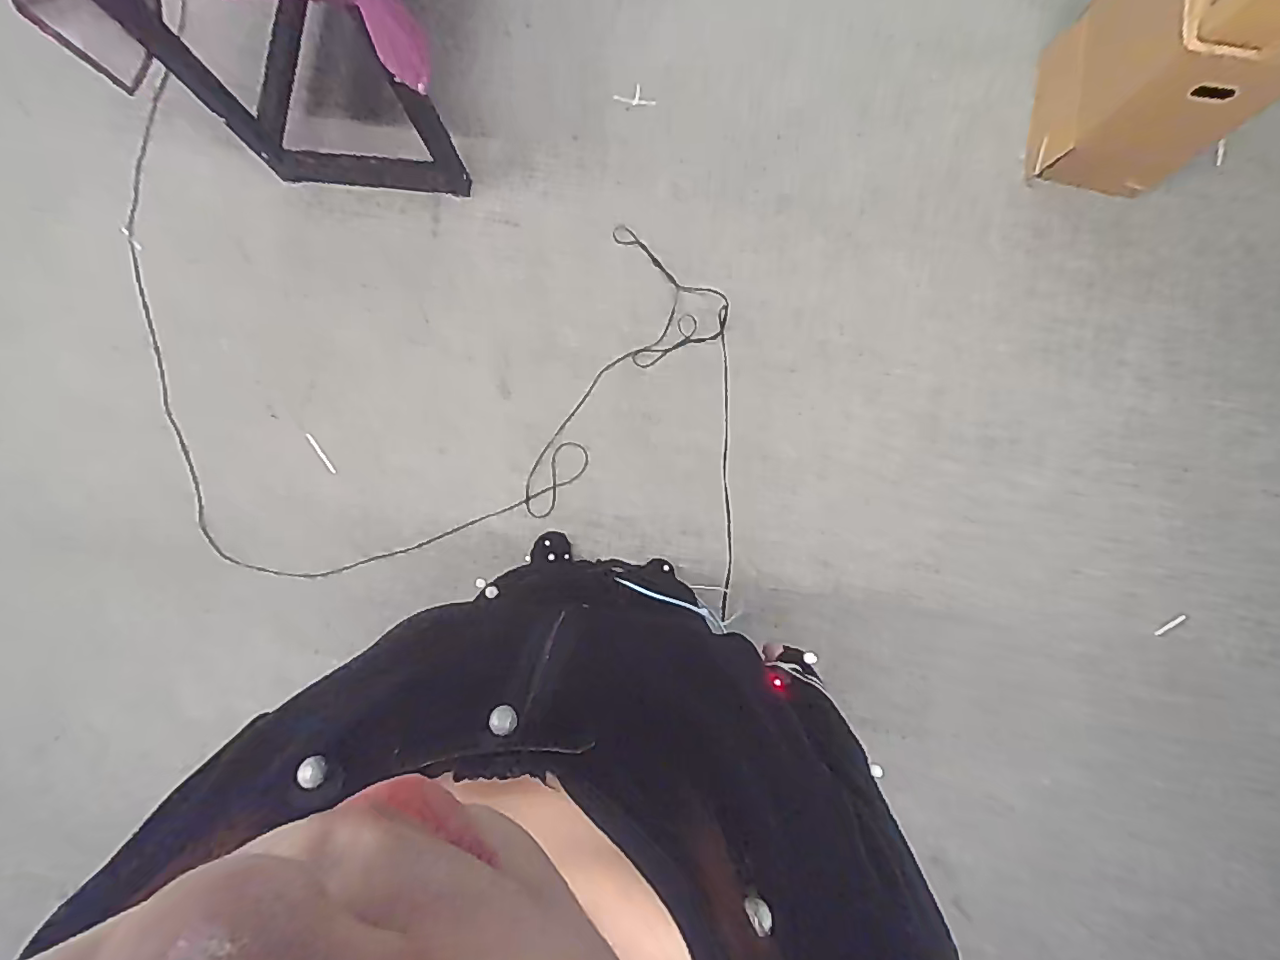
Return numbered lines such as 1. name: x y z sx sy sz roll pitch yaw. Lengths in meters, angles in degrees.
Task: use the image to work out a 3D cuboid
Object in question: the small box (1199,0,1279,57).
1. small box: 1.286 -0.991 1.072 0.179 0.176 0.168 11 84 1
